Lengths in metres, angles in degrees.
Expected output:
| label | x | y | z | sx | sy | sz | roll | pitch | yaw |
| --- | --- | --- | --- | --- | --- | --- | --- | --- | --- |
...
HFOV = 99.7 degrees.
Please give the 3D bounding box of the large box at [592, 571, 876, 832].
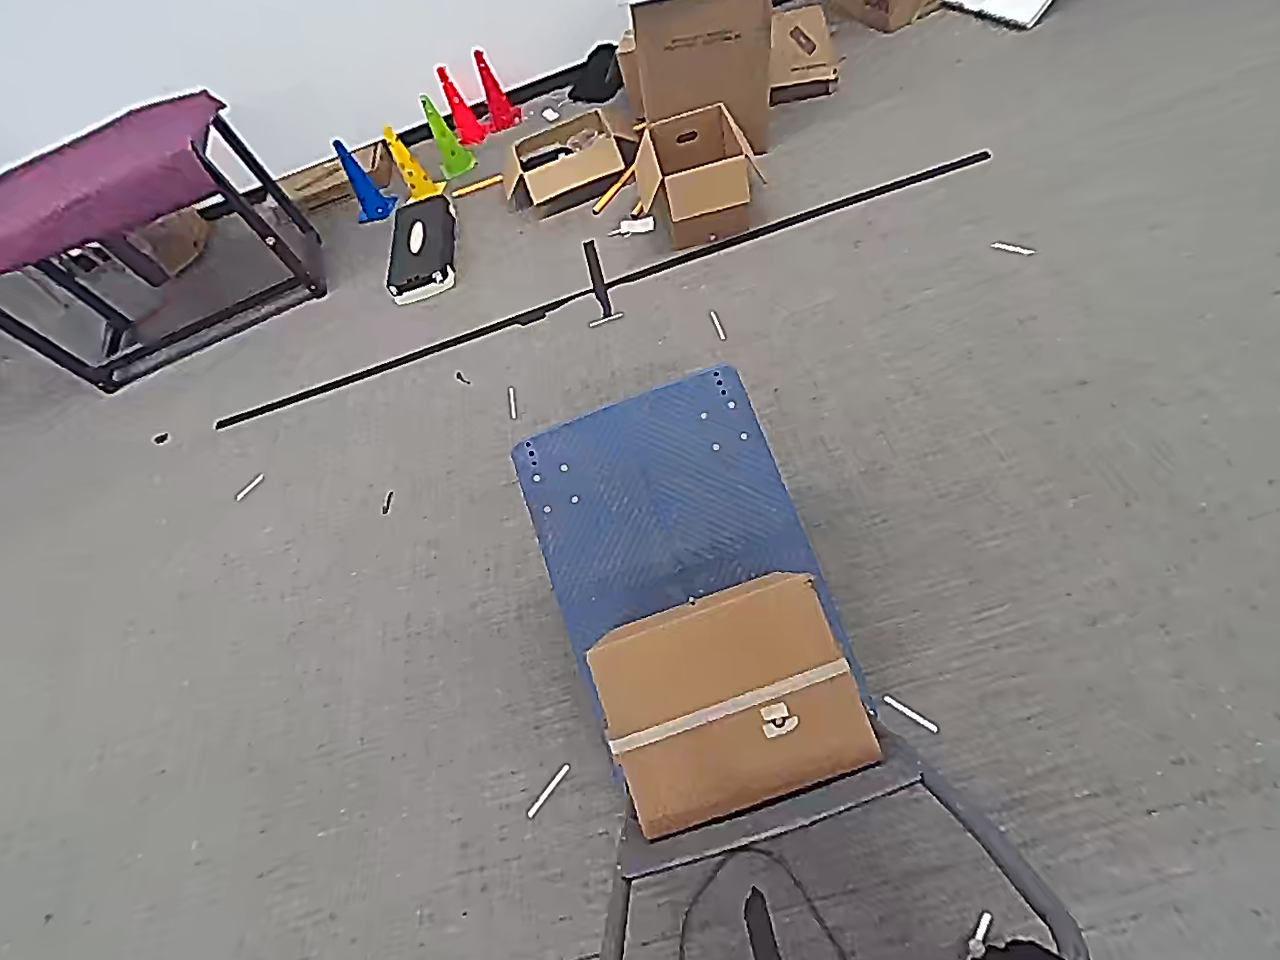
| label | x | y | z | sx | sy | sz | roll | pitch | yaw |
| --- | --- | --- | --- | --- | --- | --- | --- | --- | --- |
| large box | 0.161 | 0.394 | 1.056 | 0.408 | 0.320 | 0.320 | -21 | 81 | 0 |
